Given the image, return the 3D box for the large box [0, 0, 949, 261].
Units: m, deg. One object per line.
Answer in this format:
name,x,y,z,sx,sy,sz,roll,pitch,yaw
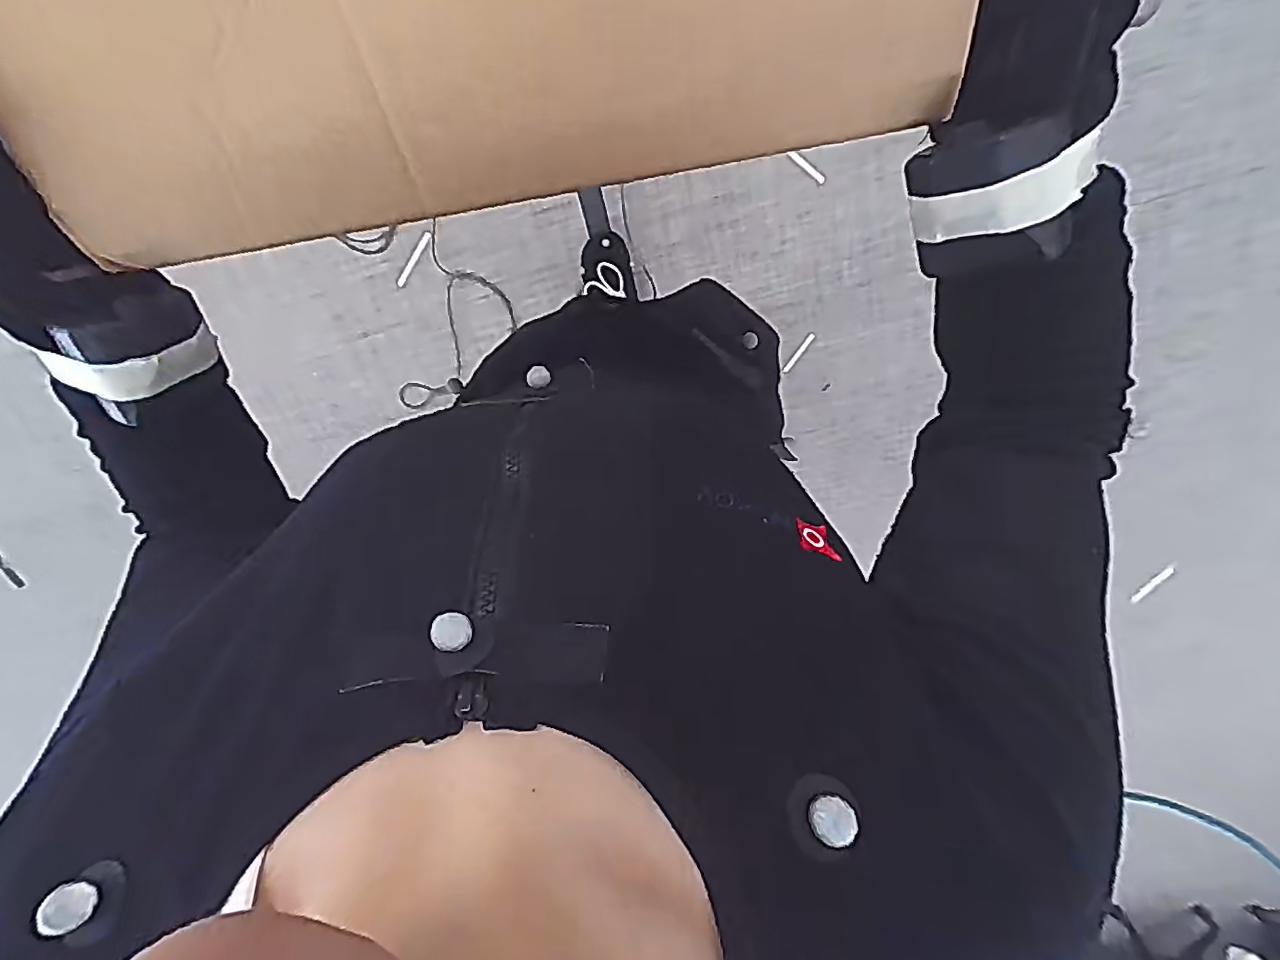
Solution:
large box,-0.095,-0.351,0.252,0.408,0.320,0.320,-8,136,4
